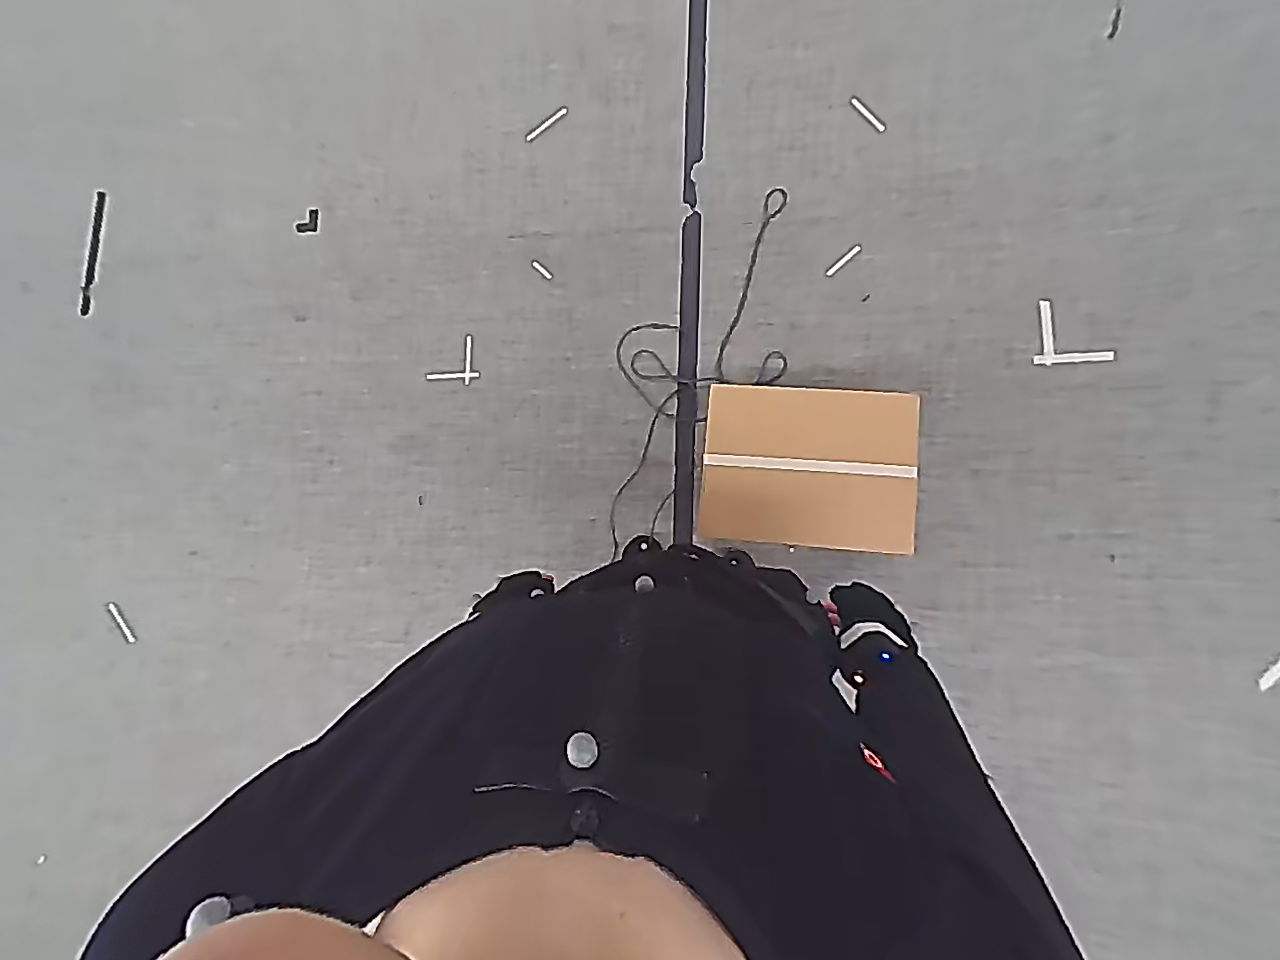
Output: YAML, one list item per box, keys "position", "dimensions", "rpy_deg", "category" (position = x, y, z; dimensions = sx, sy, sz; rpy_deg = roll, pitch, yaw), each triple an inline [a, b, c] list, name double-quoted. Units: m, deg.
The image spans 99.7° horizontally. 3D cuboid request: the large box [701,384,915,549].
- position: [0.346, -0.017, 1.214]
  dimensions: [0.408, 0.320, 0.320]
  rpy_deg: [4, 86, 8]
  category: "large box"
